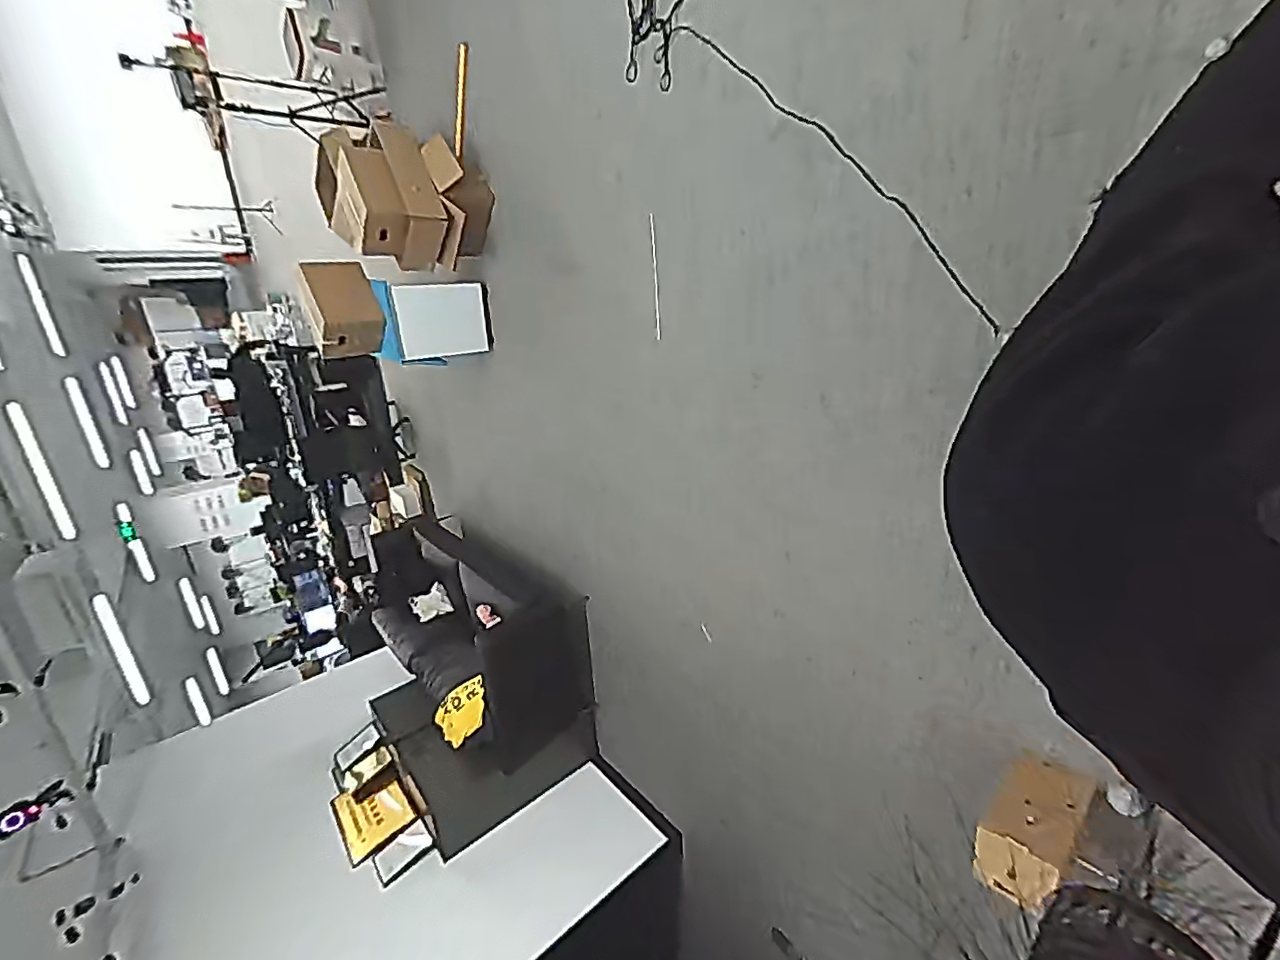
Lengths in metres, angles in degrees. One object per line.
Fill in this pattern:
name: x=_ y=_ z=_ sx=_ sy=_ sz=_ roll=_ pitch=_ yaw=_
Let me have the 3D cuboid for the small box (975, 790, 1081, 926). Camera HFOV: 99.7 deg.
small box: x=0.949 y=0.909 z=1.322 sx=0.168 sy=0.176 sz=0.179 roll=15 pitch=116 yaw=49
